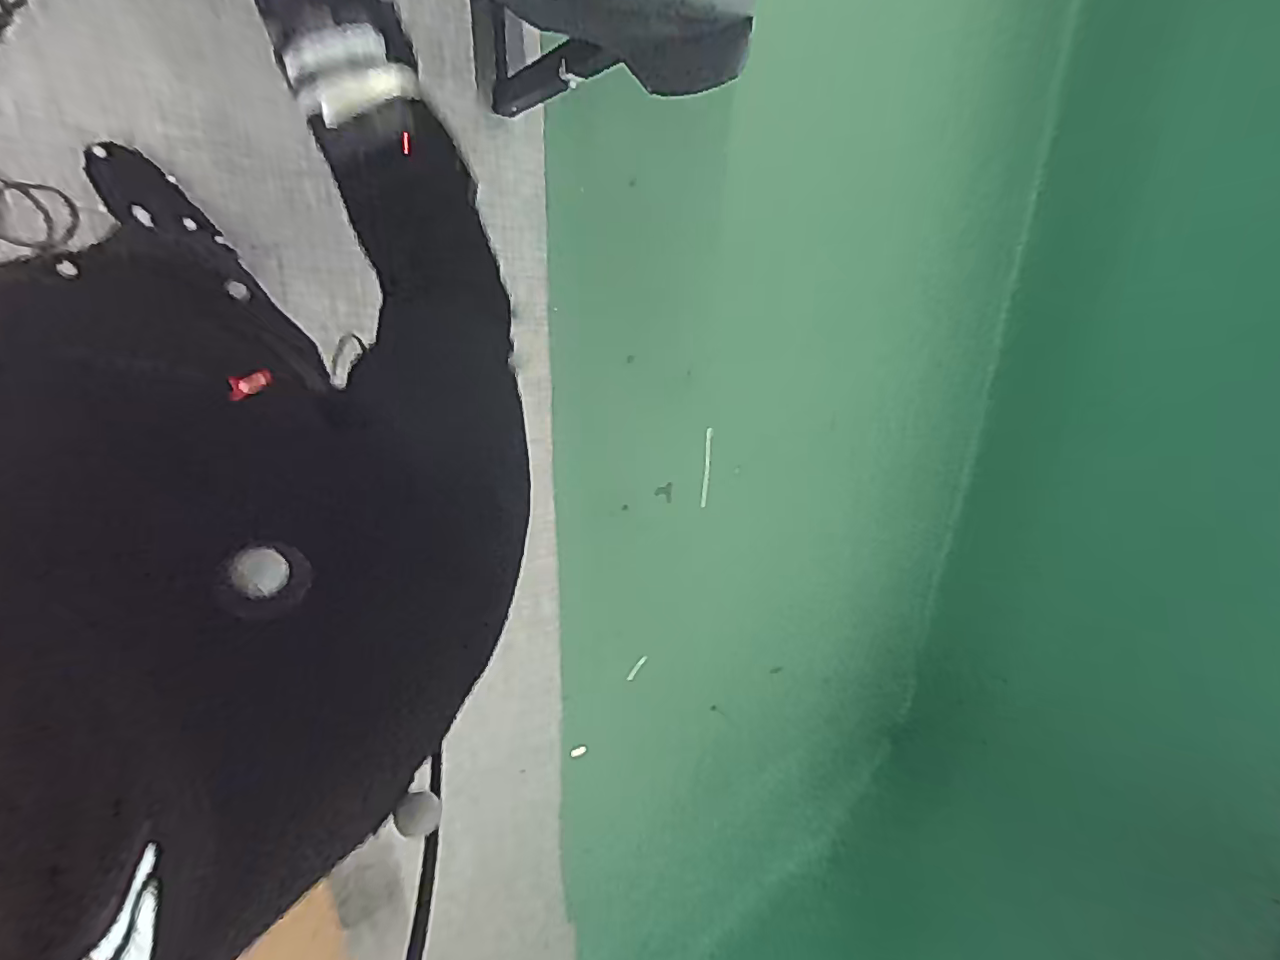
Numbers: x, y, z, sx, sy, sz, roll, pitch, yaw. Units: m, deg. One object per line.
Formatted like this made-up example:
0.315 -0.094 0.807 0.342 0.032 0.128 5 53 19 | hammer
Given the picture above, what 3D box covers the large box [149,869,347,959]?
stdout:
-0.960 1.298 1.334 0.408 0.320 0.320 -14 114 -35 | large box
